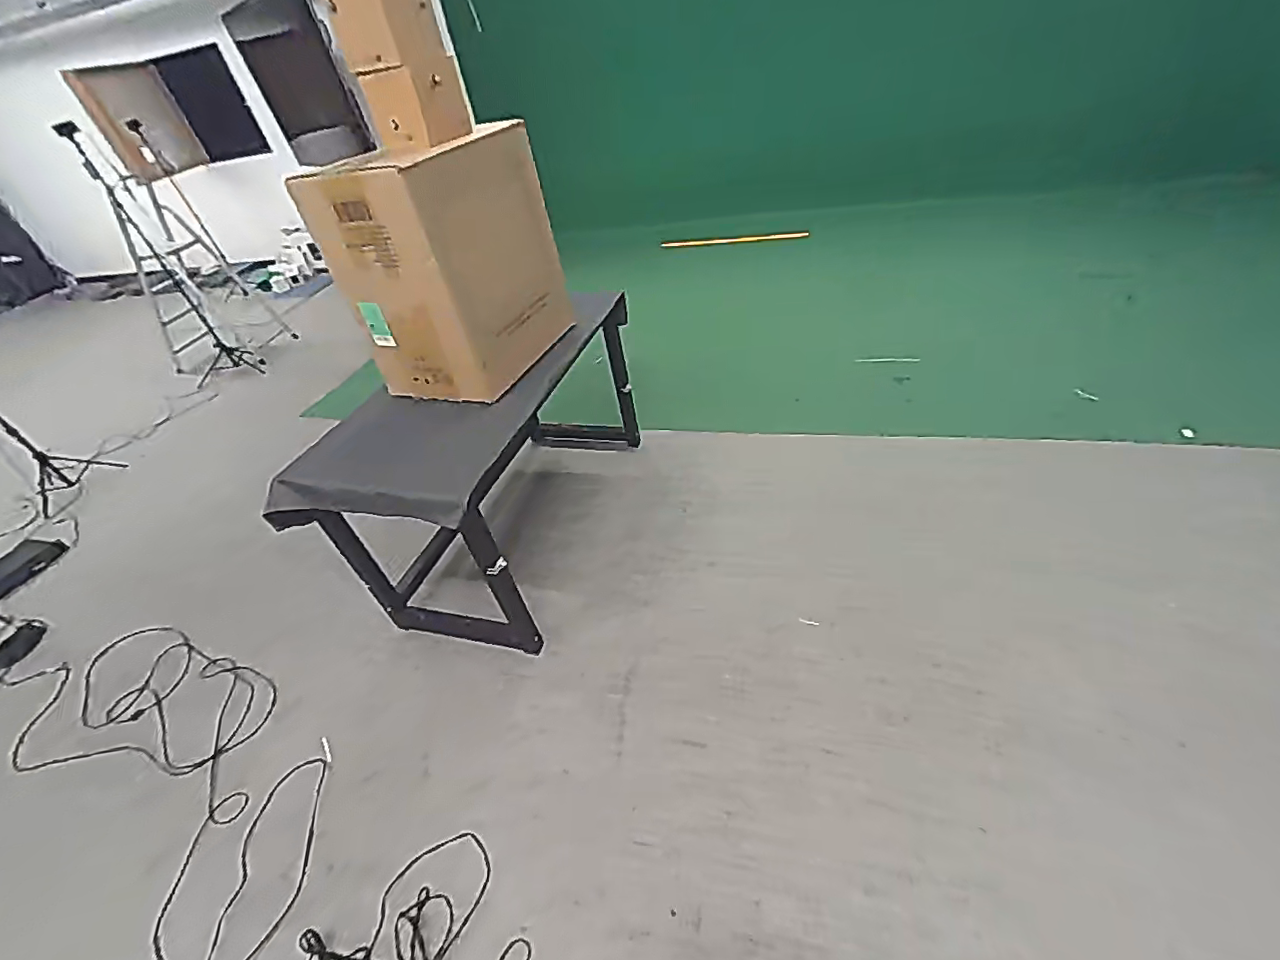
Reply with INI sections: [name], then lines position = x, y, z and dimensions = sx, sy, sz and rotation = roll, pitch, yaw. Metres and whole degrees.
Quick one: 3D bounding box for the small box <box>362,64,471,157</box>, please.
[small box]
position = -0.552, -0.935, 1.370
dimensions = 0.168, 0.176, 0.179
rotation = 11, 45, 22
